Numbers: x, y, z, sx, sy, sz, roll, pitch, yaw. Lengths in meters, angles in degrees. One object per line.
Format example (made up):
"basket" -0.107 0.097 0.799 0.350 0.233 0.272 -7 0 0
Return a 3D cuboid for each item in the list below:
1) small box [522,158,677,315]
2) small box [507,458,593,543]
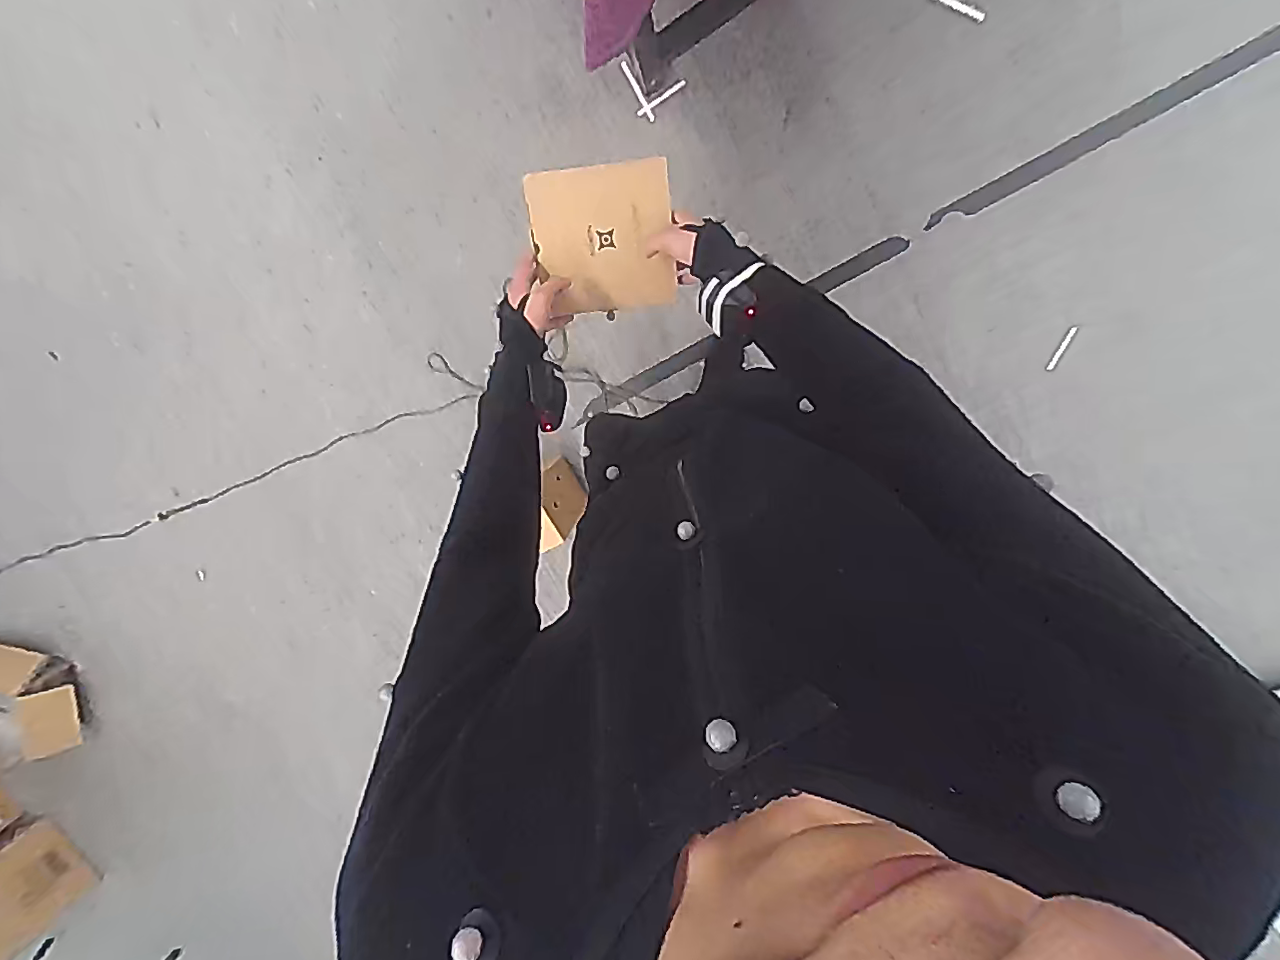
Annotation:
"small box" -0.045 -0.316 0.731 0.179 0.176 0.168 -5 109 2
"small box" -0.264 0.056 1.633 0.168 0.176 0.179 -28 101 15
